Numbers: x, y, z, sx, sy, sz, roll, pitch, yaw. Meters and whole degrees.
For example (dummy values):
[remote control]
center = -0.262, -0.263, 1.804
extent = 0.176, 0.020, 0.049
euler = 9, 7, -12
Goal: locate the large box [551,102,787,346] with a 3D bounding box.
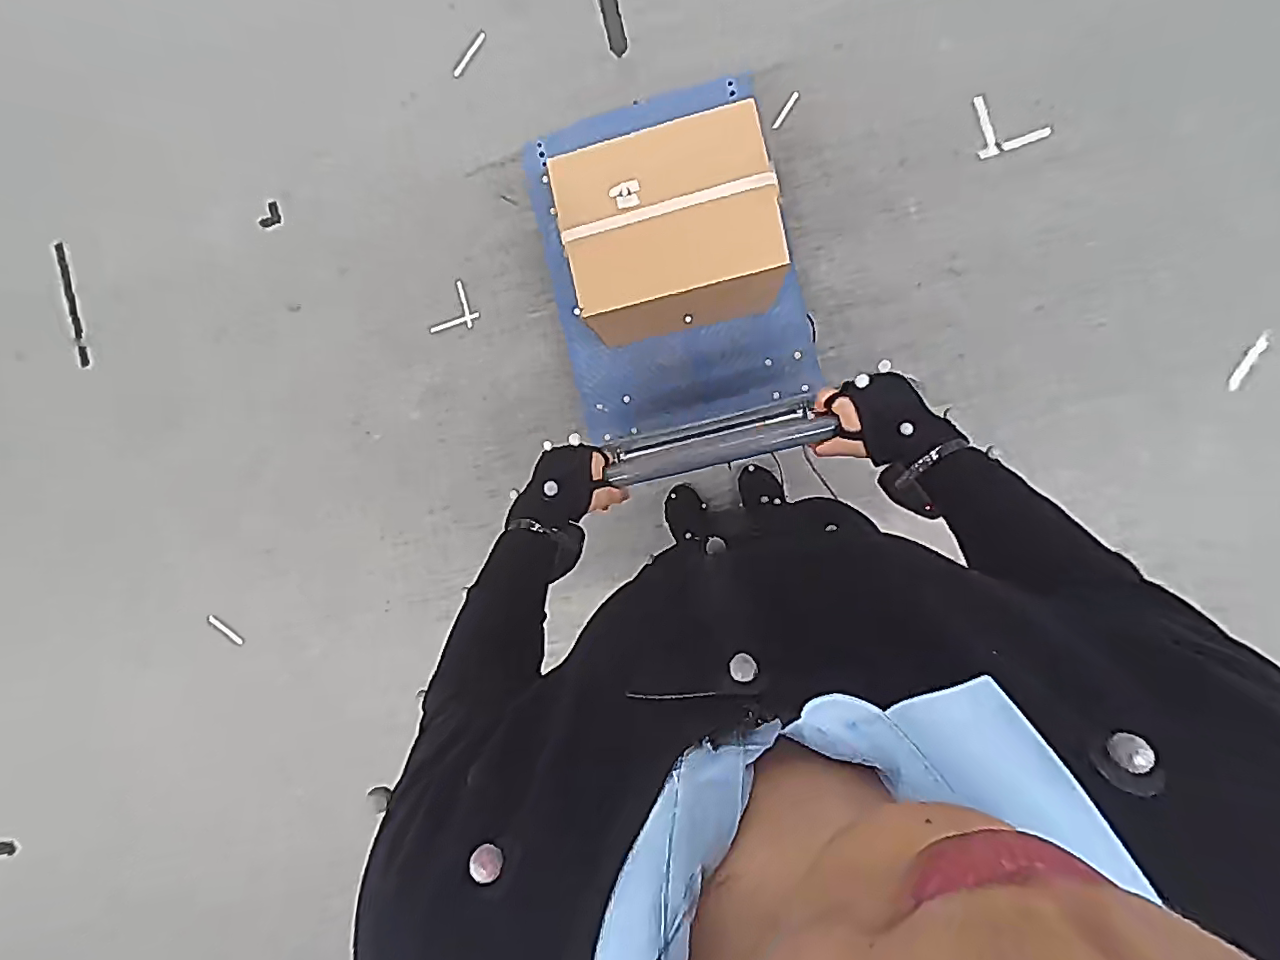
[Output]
[large box]
center = 0.070, -0.516, 1.177
extent = 0.408, 0.320, 0.320
euler = -13, 90, 8
